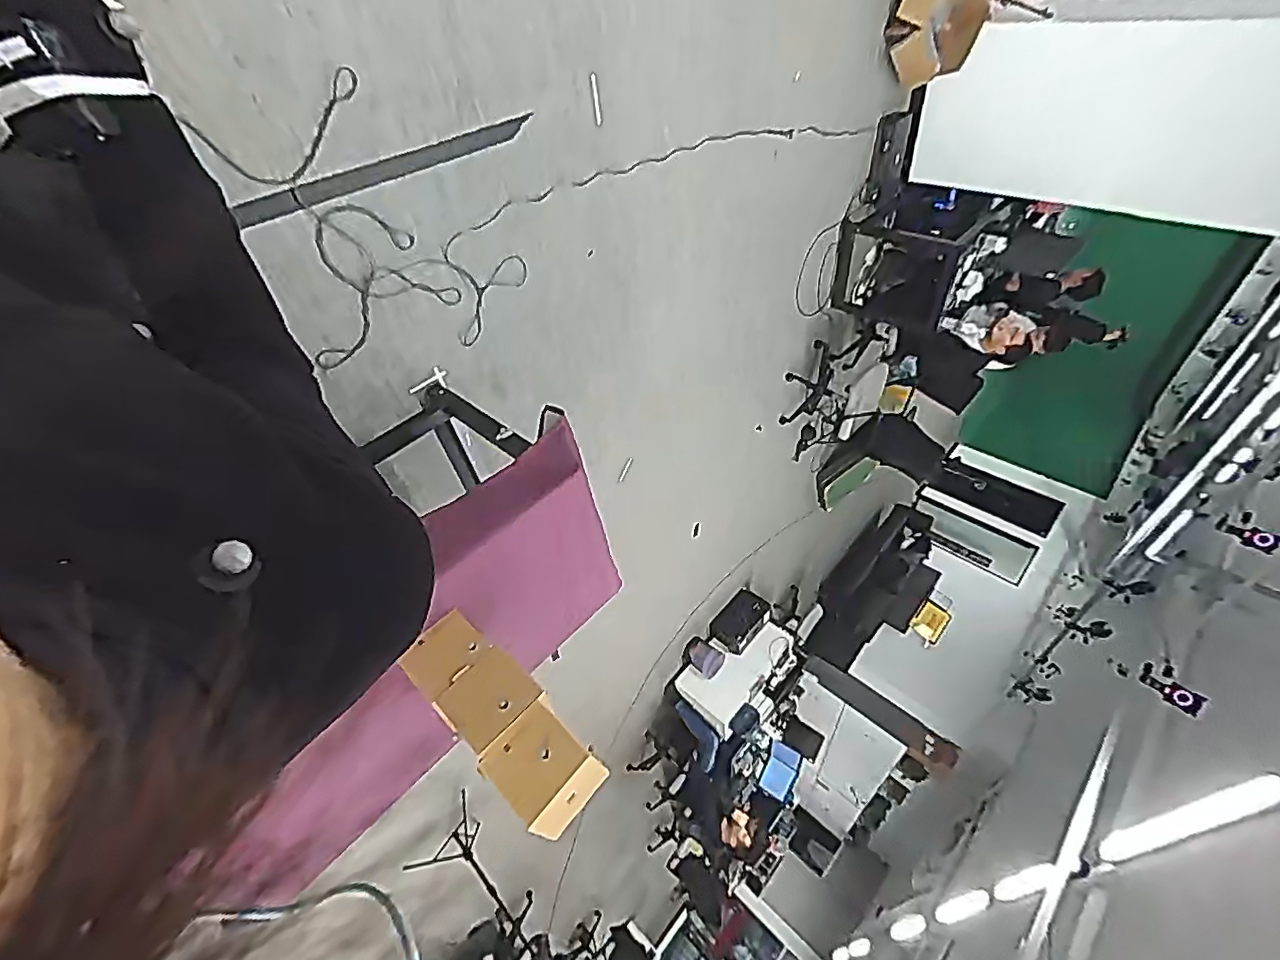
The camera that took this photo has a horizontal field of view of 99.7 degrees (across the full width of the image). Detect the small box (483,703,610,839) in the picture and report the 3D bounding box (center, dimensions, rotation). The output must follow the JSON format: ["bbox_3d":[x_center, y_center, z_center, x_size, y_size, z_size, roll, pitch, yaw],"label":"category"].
[{"bbox_3d":[-0.191,0.592,1.113,0.168,0.176,0.179,-45,146,-22],"label":"small box"}]

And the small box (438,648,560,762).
[{"bbox_3d":[-0.308,0.507,1.190,0.179,0.176,0.168,-39,142,-28],"label":"small box"}]
